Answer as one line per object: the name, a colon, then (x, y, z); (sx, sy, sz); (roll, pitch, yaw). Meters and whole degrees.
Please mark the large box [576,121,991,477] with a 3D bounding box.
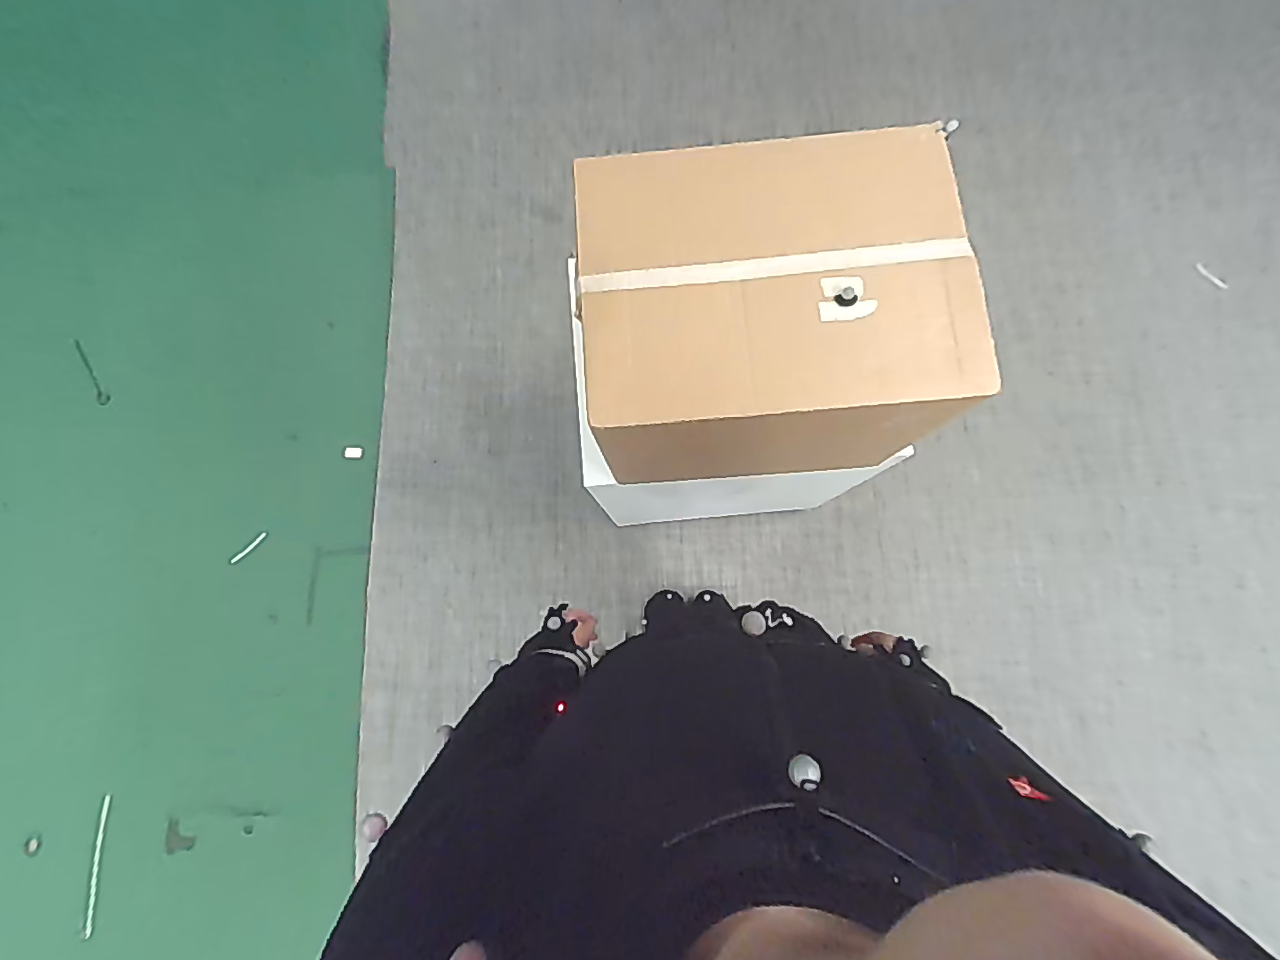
large box: (0.142, -0.199, 0.712); (0.408, 0.320, 0.320); (-5, 79, 1)
